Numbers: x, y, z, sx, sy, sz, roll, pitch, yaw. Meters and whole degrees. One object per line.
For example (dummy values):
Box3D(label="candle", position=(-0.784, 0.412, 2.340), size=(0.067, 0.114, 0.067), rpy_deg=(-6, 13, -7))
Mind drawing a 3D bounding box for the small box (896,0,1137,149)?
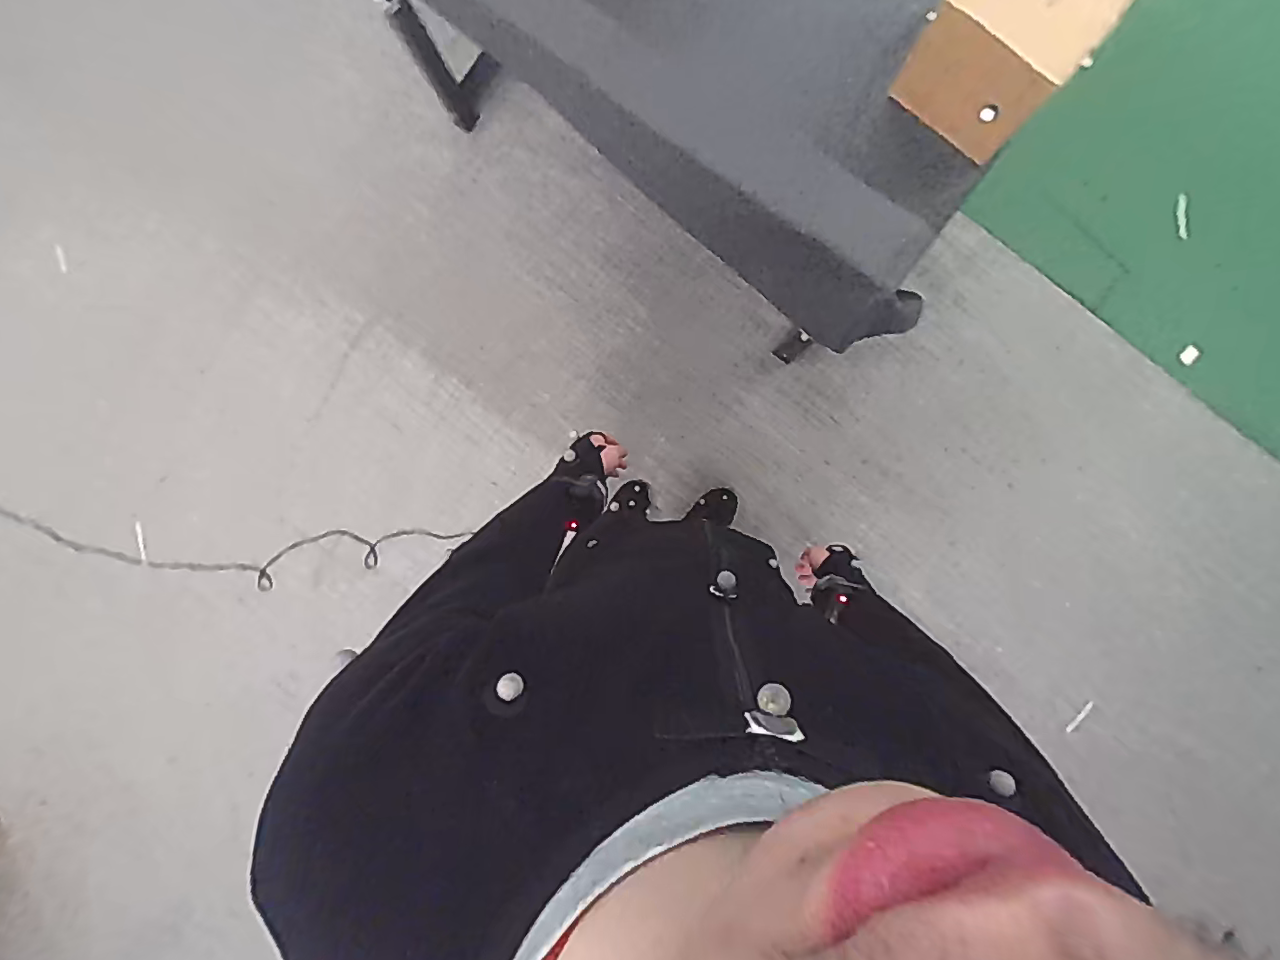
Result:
Box3D(label="small box", position=(0.476, -0.571, 0.695), size=(0.179, 0.176, 0.168), rpy_deg=(39, 93, 2))
